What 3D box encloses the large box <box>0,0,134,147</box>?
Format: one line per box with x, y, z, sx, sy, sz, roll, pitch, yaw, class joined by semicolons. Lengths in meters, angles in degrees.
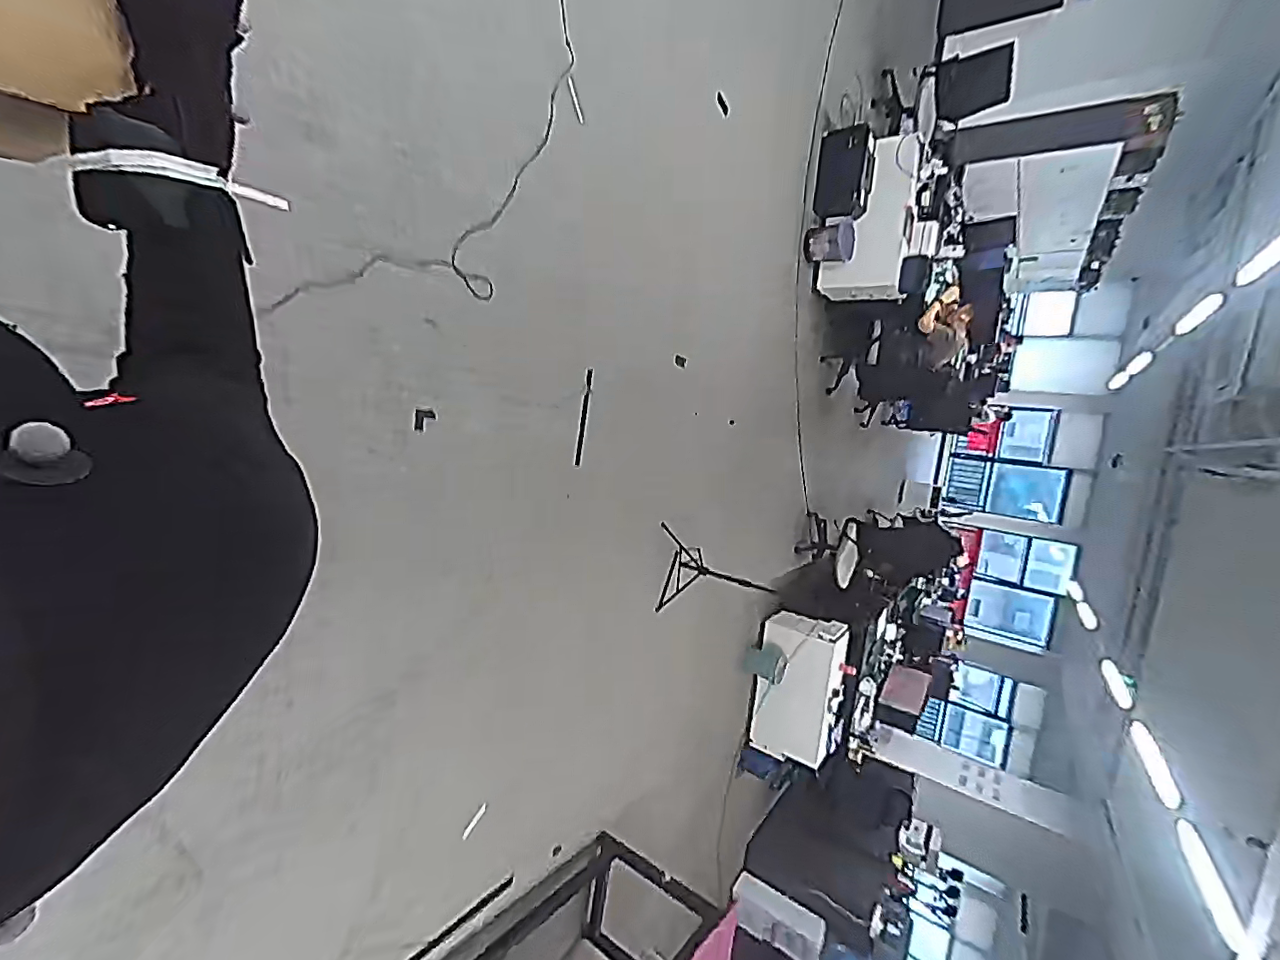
-0.565;-0.399;0.248;0.408;0.320;0.320;-15;117;-55;large box
